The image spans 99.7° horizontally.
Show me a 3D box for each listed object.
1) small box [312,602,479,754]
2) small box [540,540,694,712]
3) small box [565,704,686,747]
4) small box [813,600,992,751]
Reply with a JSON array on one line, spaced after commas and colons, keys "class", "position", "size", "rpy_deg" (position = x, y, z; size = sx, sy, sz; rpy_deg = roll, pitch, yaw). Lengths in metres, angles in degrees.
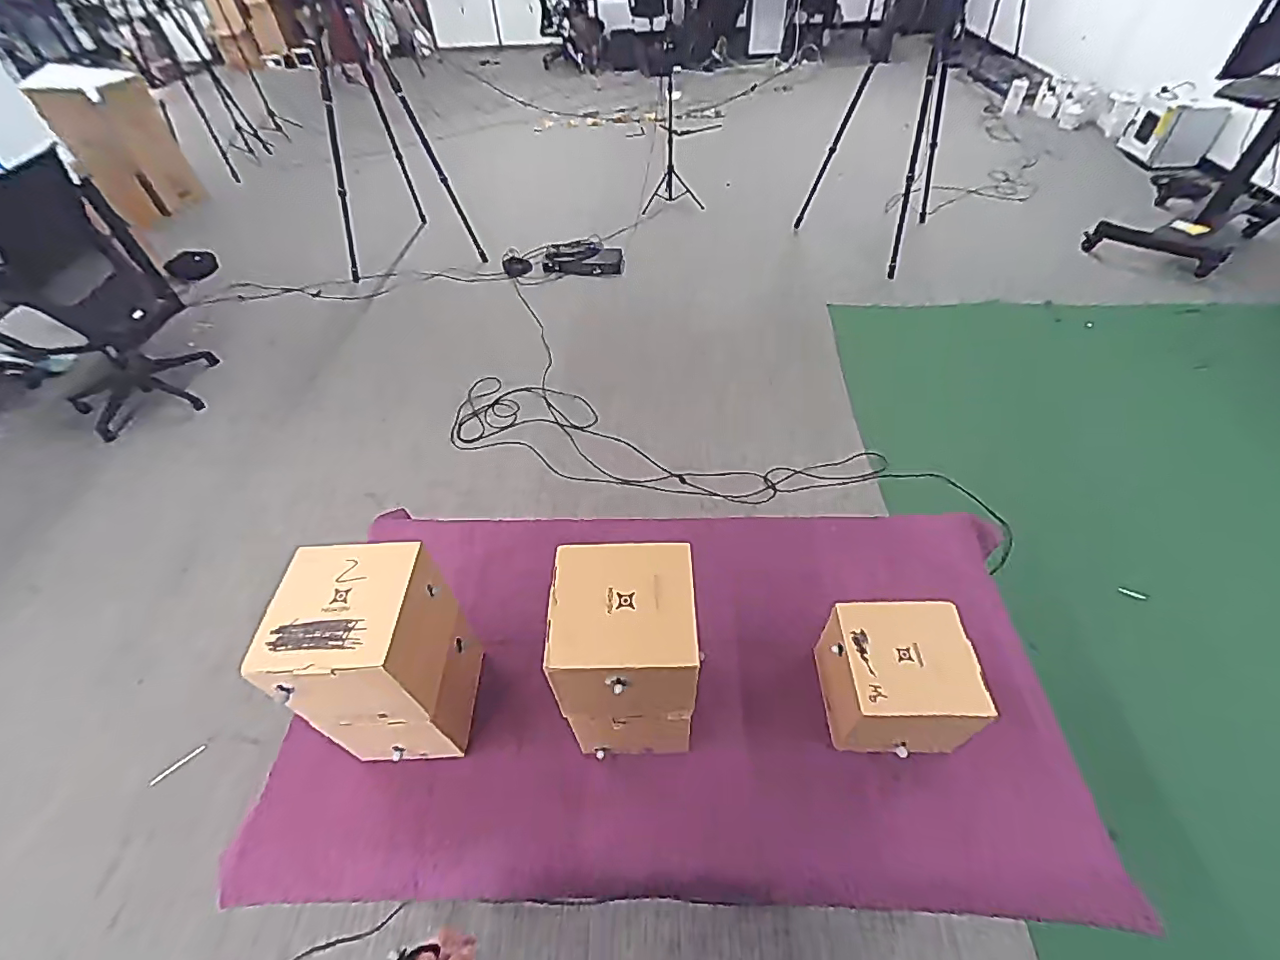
[{"class": "small box", "position": [-0.360, 0.309, 0.842], "size": [0.168, 0.176, 0.179], "rpy_deg": [-2, 49, 2]}, {"class": "small box", "position": [-0.021, 0.194, 0.708], "size": [0.179, 0.176, 0.168], "rpy_deg": [-1, 49, 2]}, {"class": "small box", "position": [-0.014, 0.299, 0.832], "size": [0.168, 0.176, 0.179], "rpy_deg": [-1, 48, 2]}, {"class": "small box", "position": [0.376, 0.295, 0.813], "size": [0.179, 0.176, 0.168], "rpy_deg": [0, 48, 3]}]
